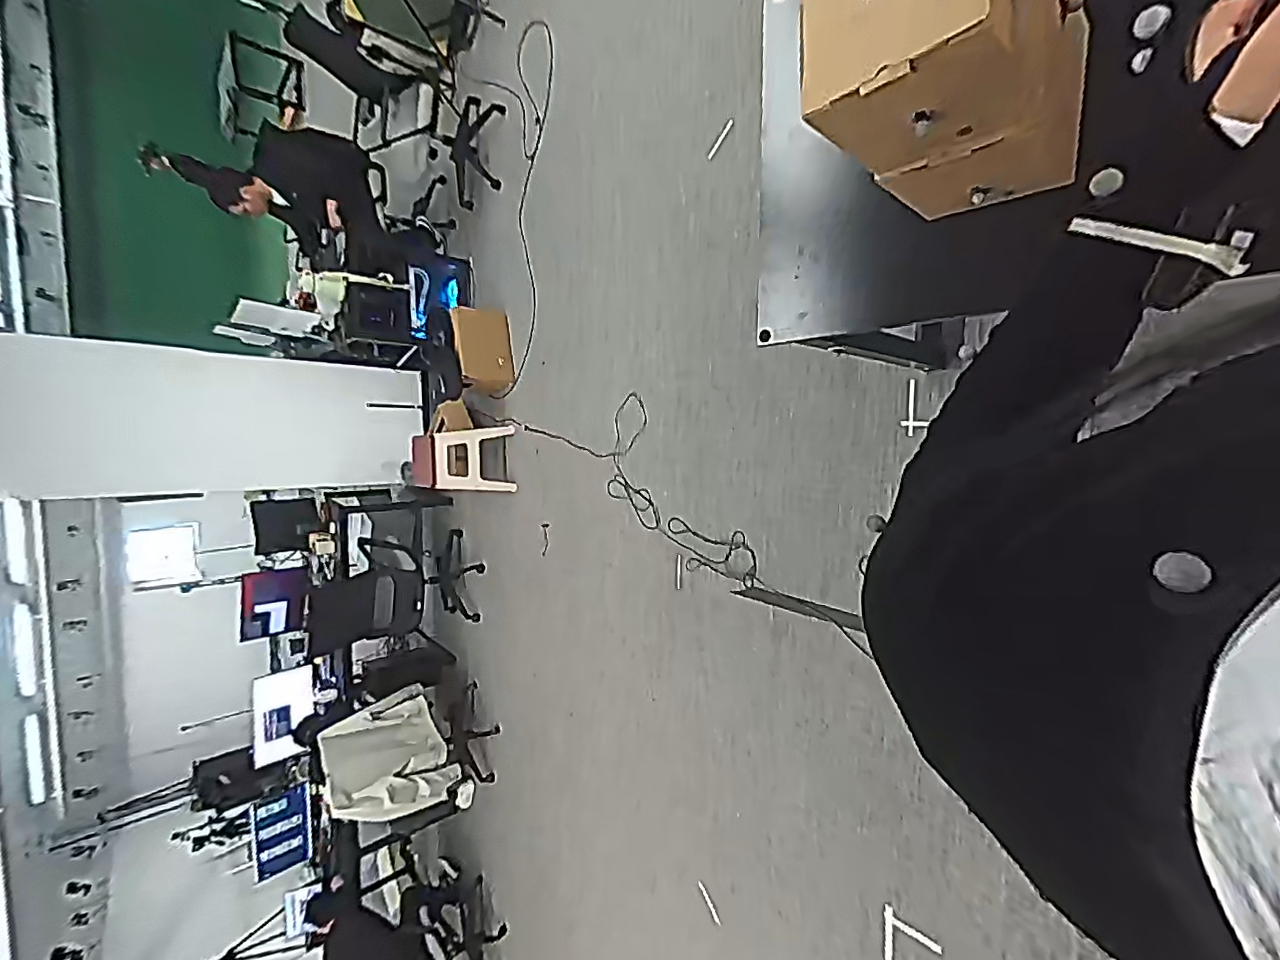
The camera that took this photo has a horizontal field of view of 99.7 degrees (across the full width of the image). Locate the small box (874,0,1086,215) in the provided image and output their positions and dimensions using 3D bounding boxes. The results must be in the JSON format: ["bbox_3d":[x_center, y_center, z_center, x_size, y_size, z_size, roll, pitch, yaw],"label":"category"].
[{"bbox_3d":[0.399,-0.442,0.634,0.168,0.176,0.179,8,98,49],"label":"small box"}]

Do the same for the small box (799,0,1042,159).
[{"bbox_3d":[0.274,-0.444,0.527,0.168,0.176,0.179,3,96,48],"label":"small box"}]
